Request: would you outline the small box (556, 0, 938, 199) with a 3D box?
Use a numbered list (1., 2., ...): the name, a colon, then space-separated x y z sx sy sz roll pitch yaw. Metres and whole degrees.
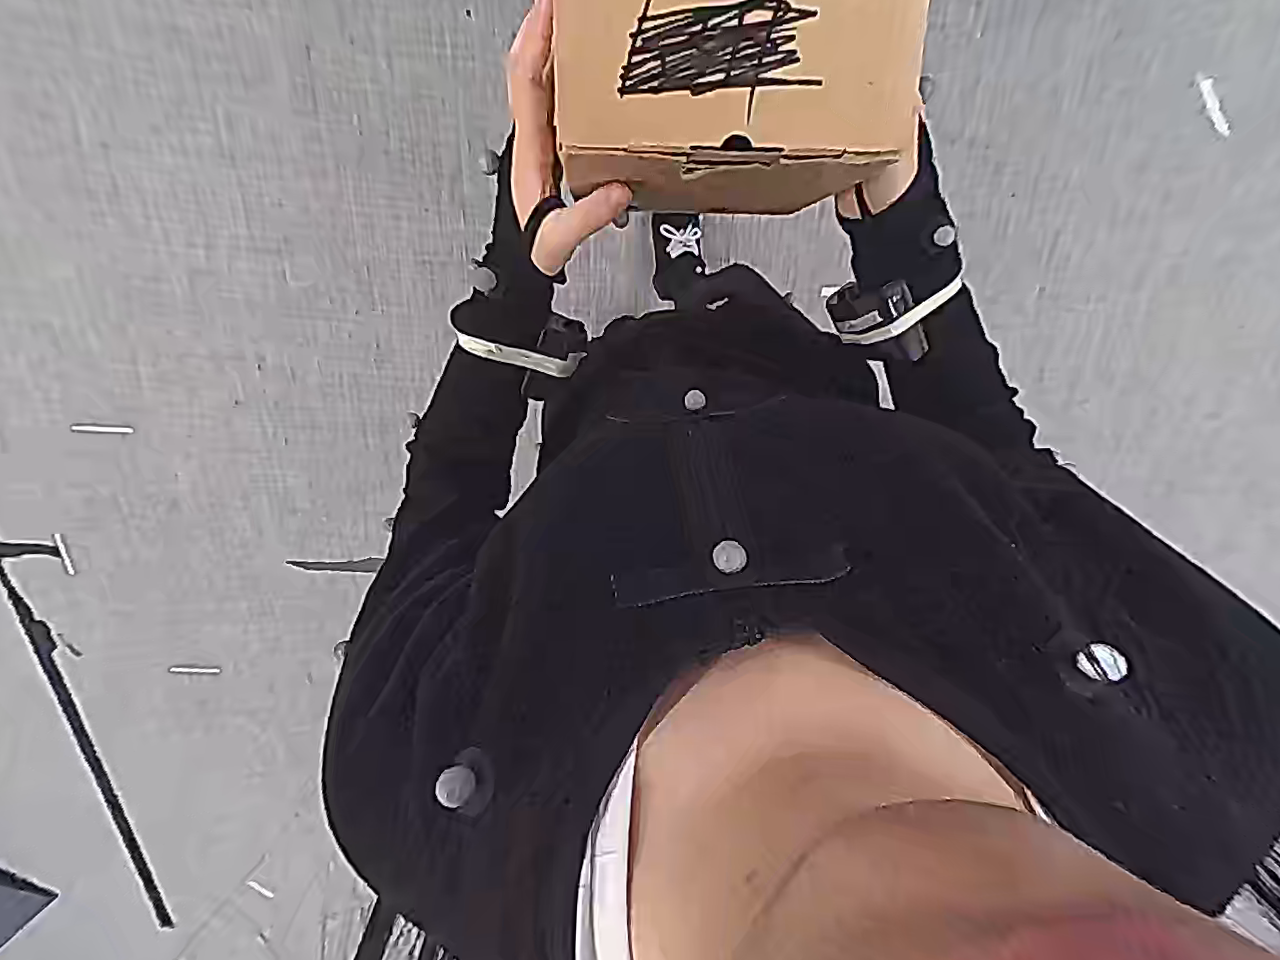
1. small box: 0.043 -0.263 0.294 0.168 0.176 0.179 -1 107 -4
